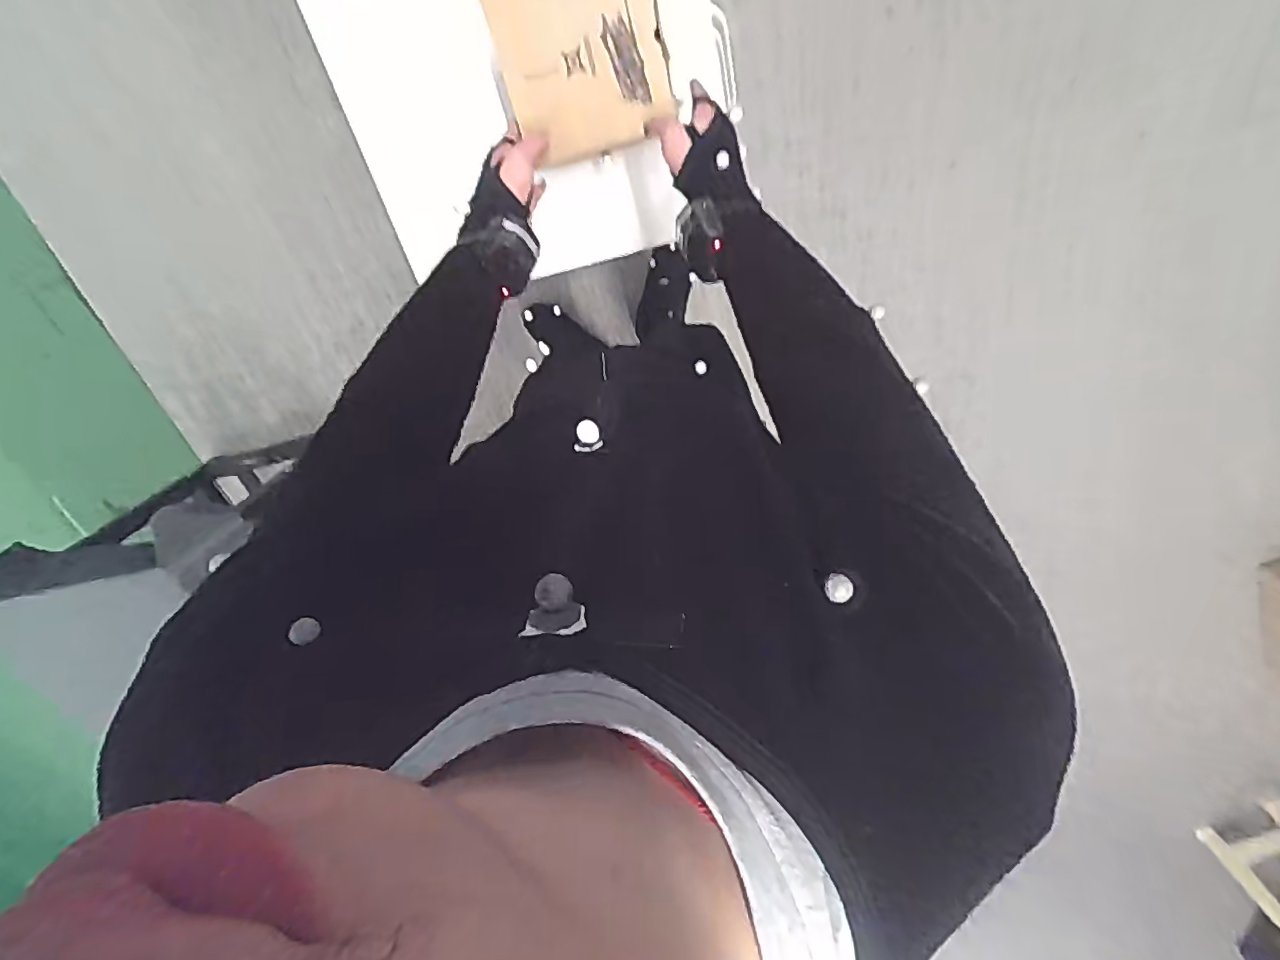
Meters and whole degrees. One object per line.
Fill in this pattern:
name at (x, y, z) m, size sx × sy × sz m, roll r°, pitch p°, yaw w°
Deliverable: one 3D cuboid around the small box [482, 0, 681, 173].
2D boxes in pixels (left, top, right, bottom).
small box at (-0.053, -0.471, 0.627) m, size 0.179 × 0.176 × 0.168 m, roll -10°, pitch 118°, yaw 10°
